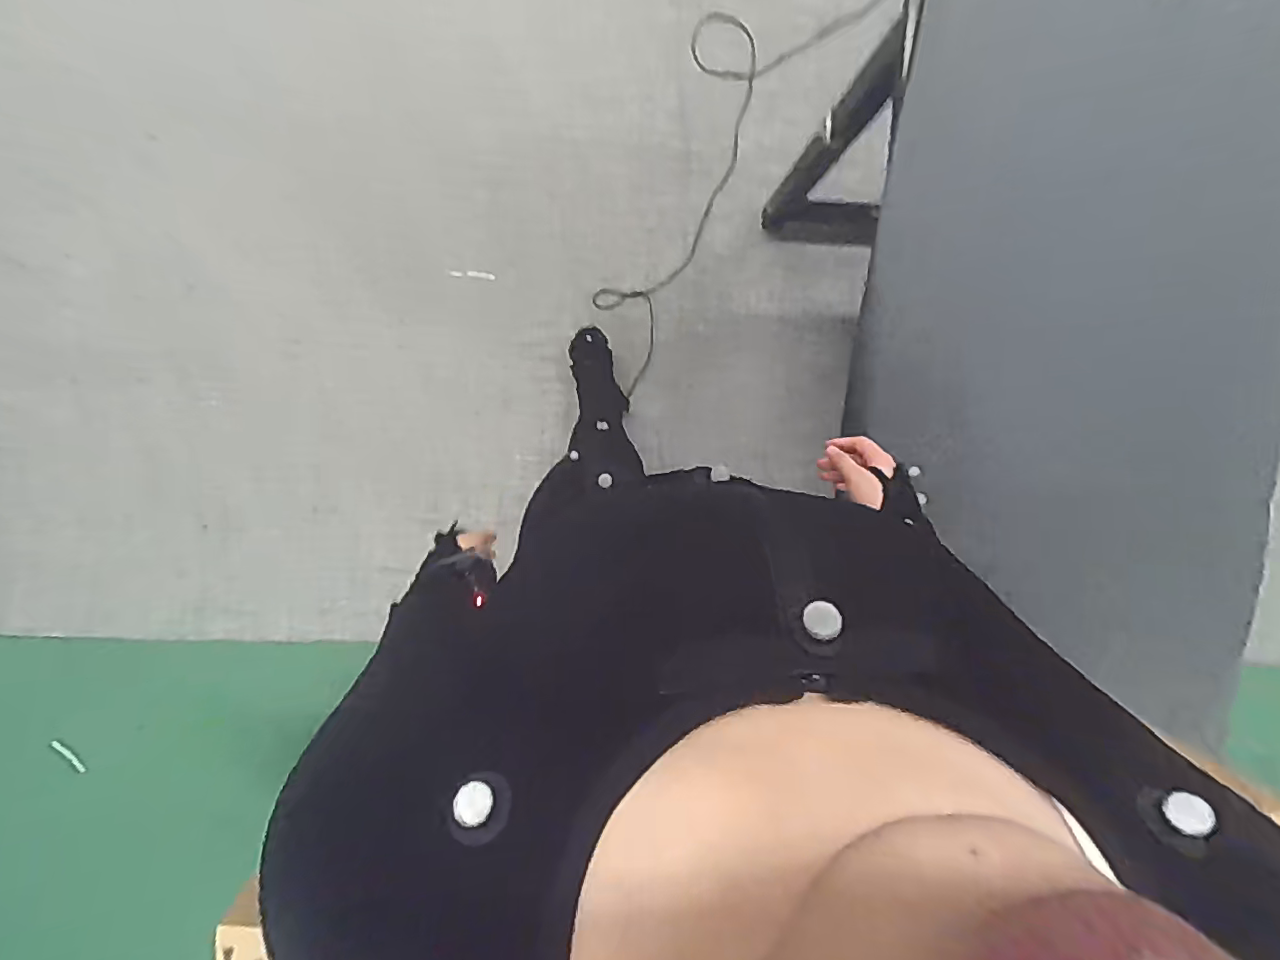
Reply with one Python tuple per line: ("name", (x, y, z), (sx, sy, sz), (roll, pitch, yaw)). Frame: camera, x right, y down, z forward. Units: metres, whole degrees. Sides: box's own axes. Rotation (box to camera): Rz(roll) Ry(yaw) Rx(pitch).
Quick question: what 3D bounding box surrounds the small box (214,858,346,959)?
("small box", (-0.732, 0.921, 1.117), (0.179, 0.176, 0.168), (5, 96, -4))
